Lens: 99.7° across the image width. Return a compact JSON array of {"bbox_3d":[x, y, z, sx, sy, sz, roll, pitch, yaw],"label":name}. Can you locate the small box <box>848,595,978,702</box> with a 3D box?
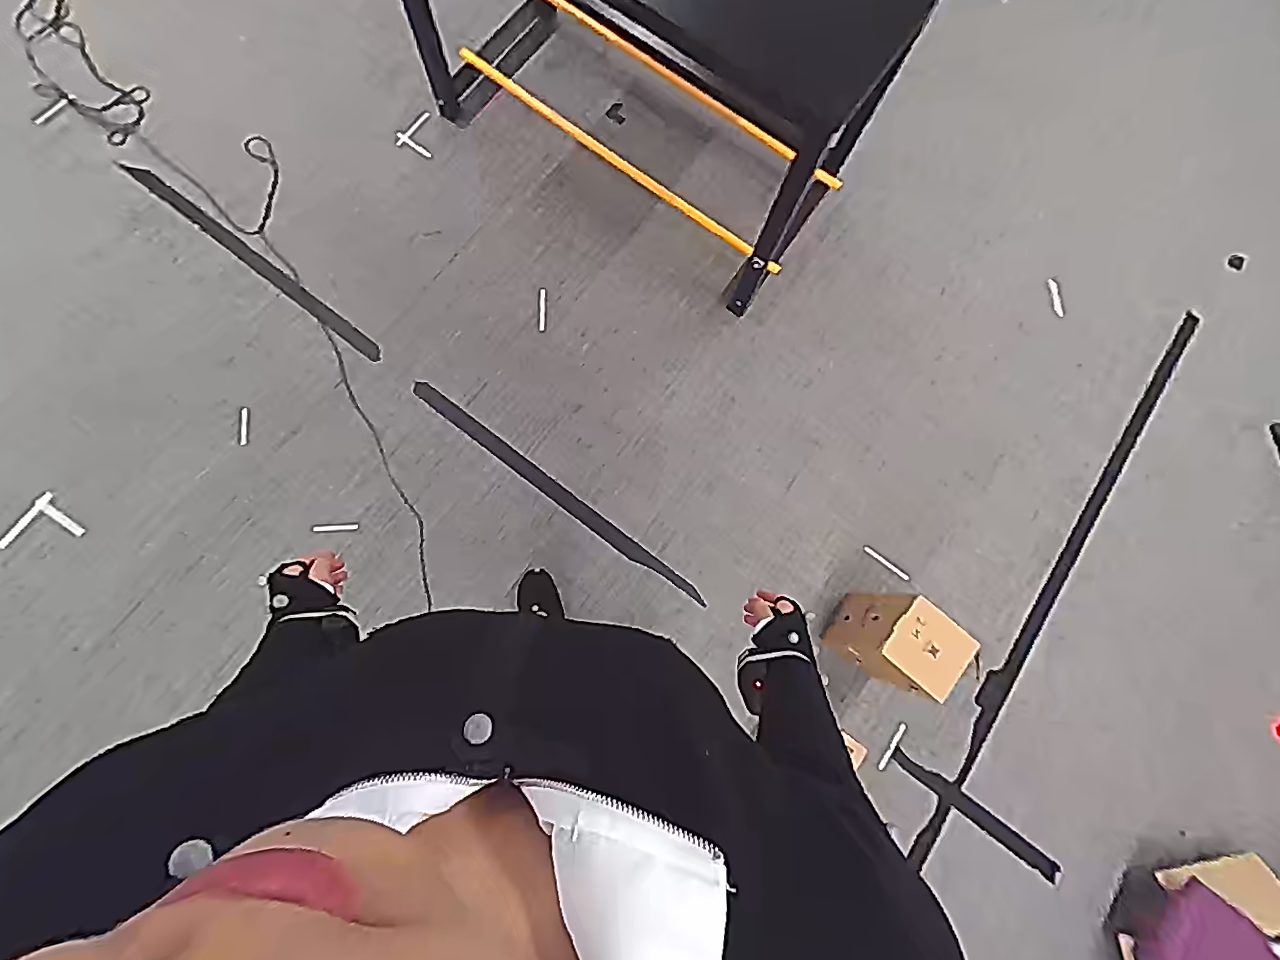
[{"bbox_3d":[0.638,0.387,1.283,0.179,0.176,0.168,41,79,5],"label":"small box"}]

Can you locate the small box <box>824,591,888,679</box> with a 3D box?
[{"bbox_3d":[0.625,0.416,1.445,0.179,0.176,0.168,35,79,4],"label":"small box"}]
